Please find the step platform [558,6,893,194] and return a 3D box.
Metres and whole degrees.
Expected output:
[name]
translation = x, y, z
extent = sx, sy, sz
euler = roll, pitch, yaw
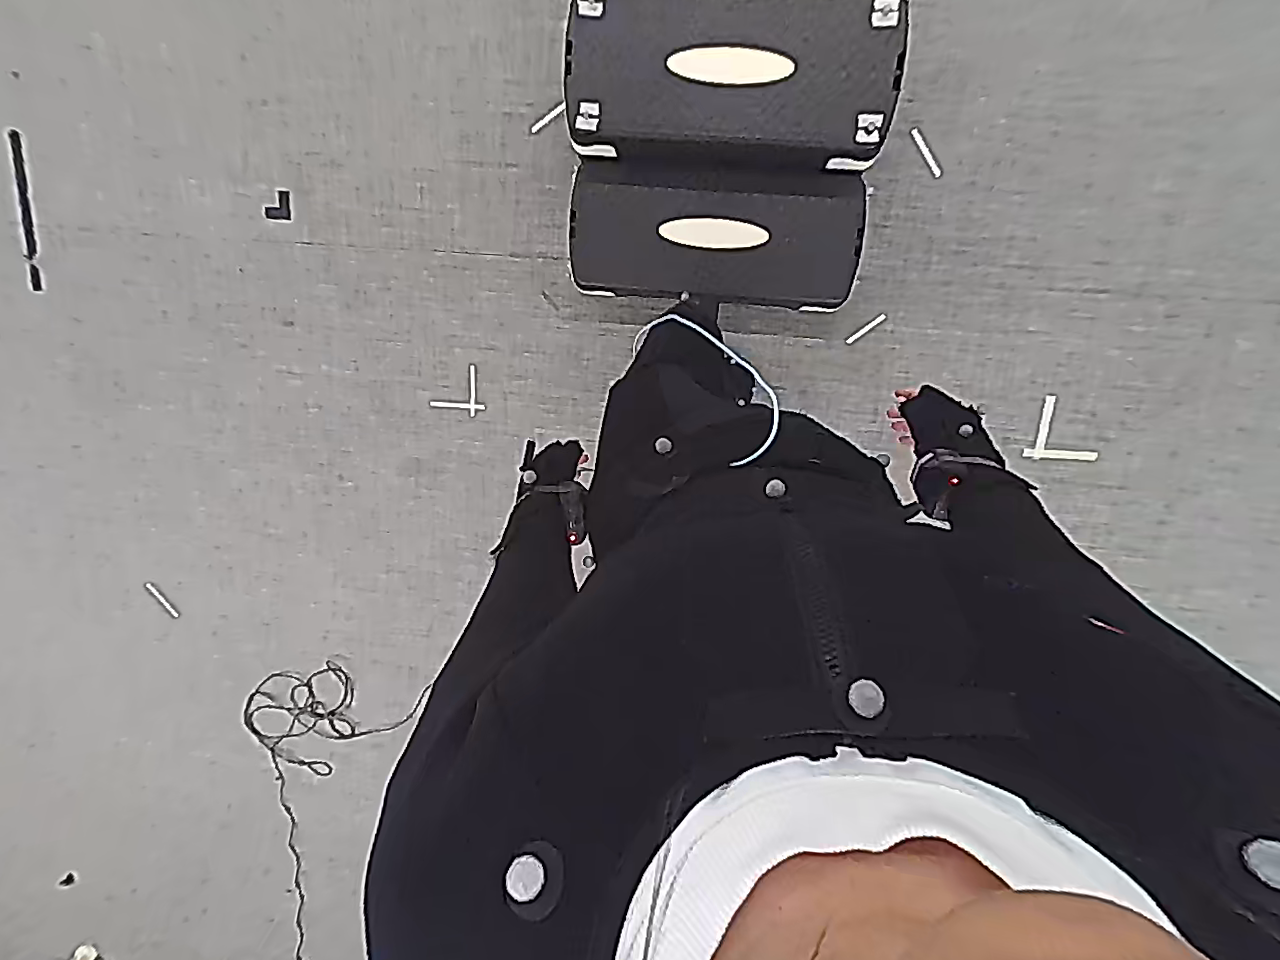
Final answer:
[step platform]
translation = 0.167, -0.807, 1.165
extent = 0.684, 0.204, 0.286
euler = 4, 105, 4
